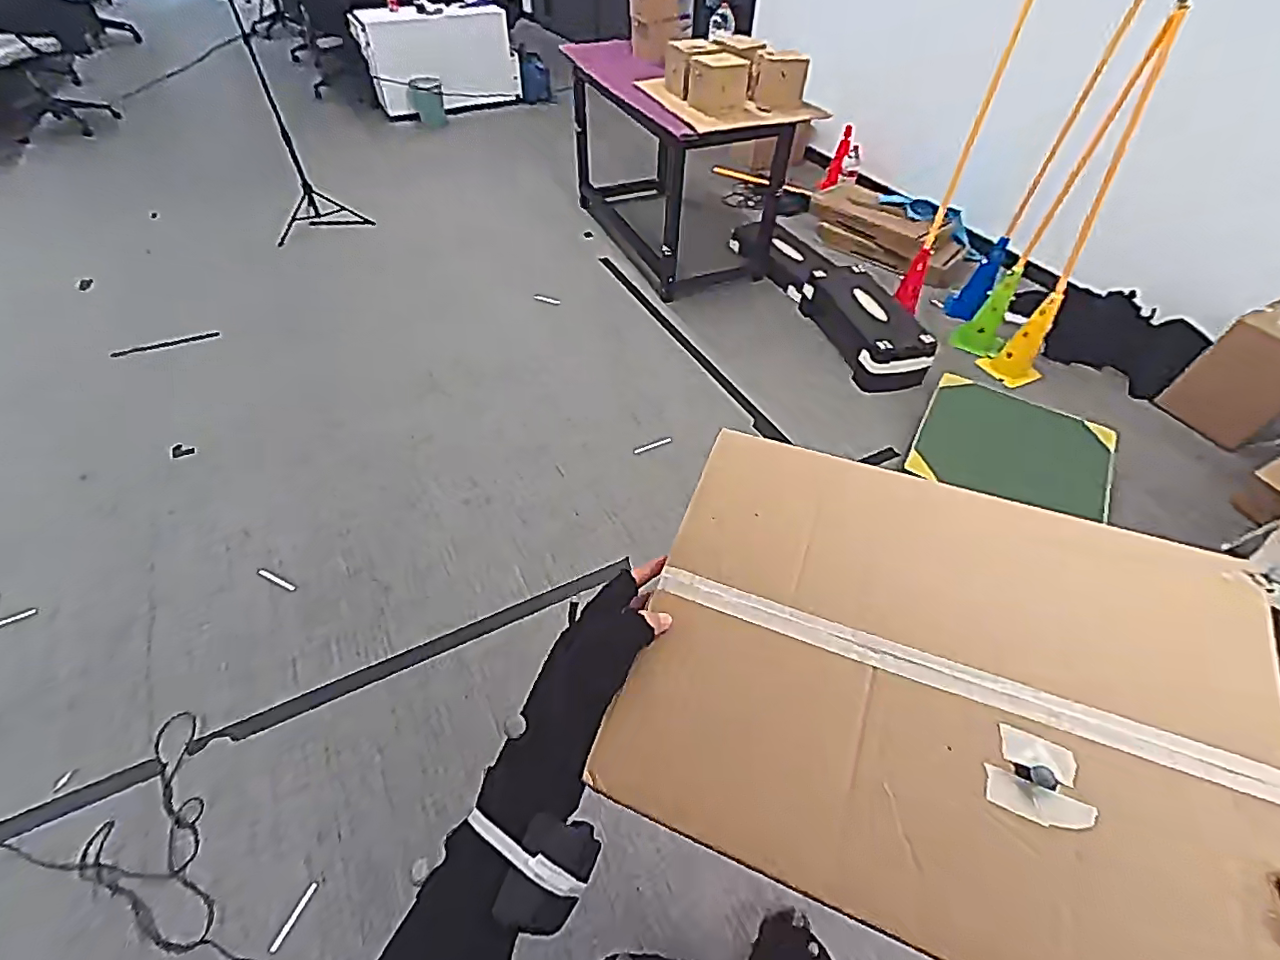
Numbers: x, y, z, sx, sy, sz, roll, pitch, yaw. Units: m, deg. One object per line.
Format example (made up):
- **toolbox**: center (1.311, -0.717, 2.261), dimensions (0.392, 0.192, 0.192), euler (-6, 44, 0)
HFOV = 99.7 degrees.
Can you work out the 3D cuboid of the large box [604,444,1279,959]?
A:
- **large box**: center (0.225, 0.214, 0.521), dimensions (0.408, 0.320, 0.320), euler (17, 63, 17)
